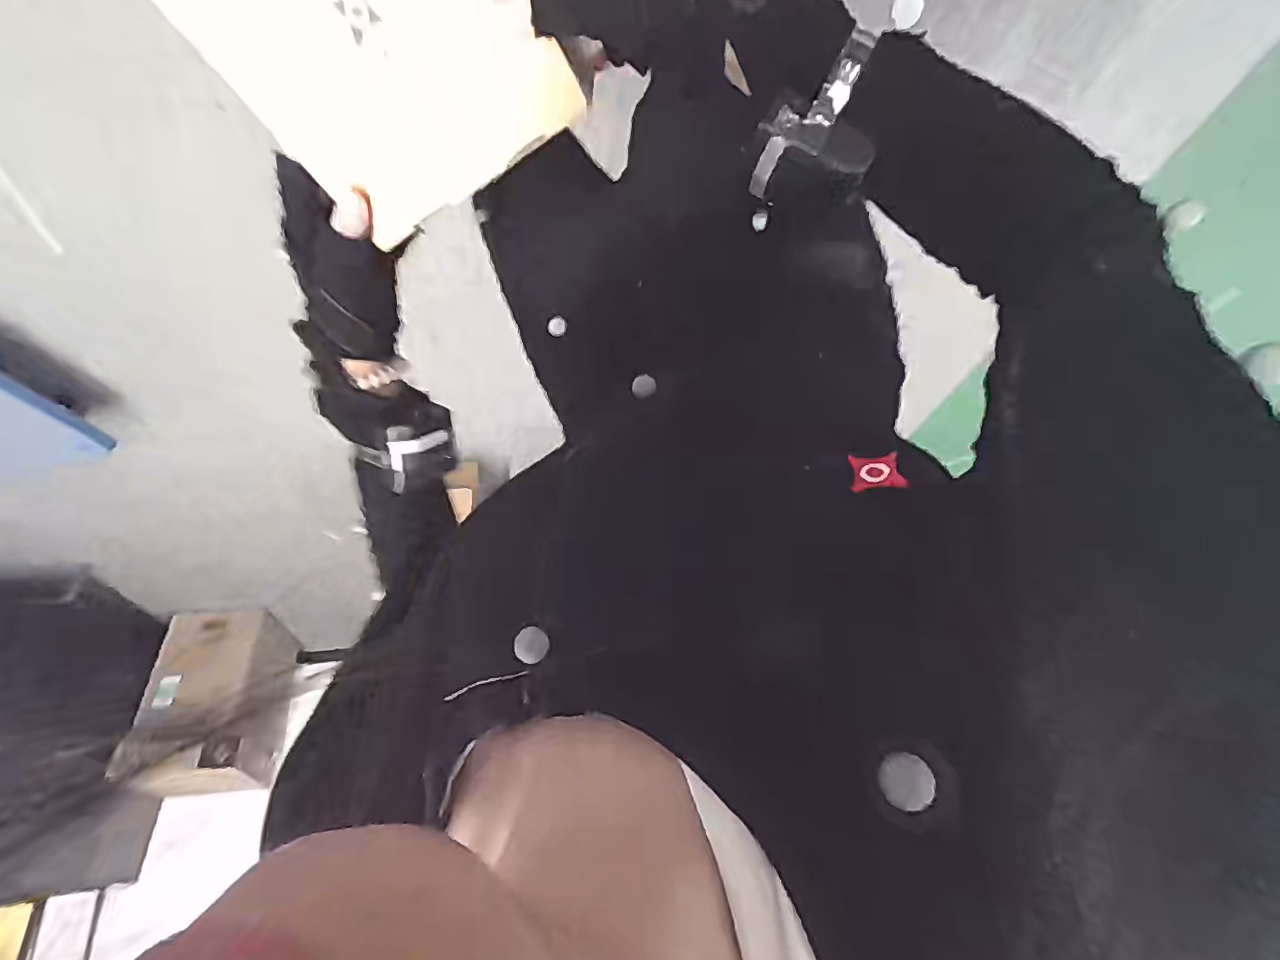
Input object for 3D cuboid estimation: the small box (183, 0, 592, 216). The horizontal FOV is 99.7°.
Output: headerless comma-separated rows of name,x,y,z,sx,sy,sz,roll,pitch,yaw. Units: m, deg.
small box,-0.142,-0.299,0.317,0.168,0.176,0.179,-22,132,16
